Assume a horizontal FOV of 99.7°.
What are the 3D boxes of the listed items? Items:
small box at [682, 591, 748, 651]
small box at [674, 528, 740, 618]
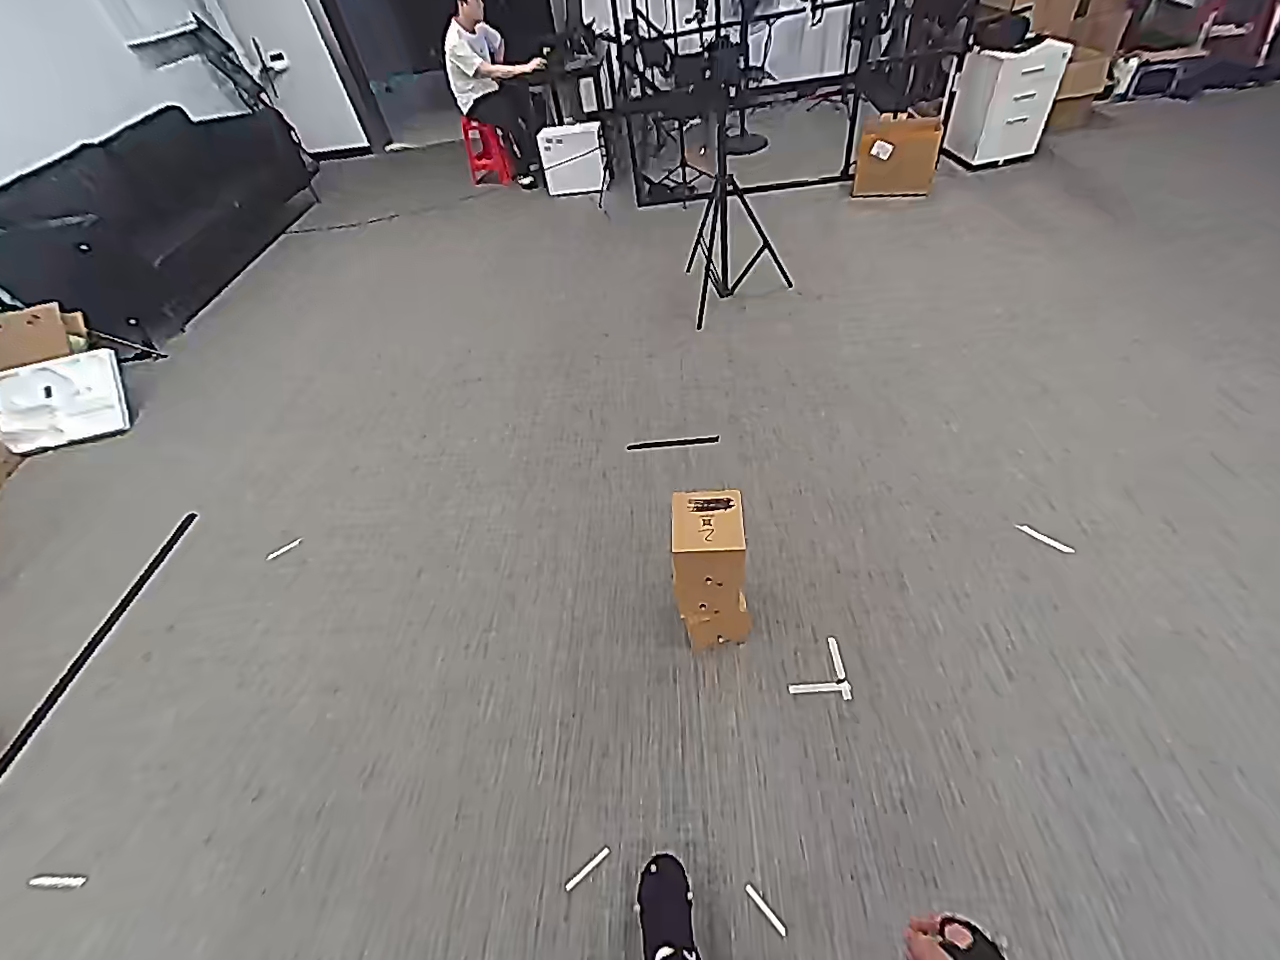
[{"bbox_3d":[0.203,0.363,1.553,0.168,0.176,0.179,-13,47,-1],"label":"small box"},{"bbox_3d":[0.176,0.249,1.440,0.168,0.176,0.179,-4,47,7],"label":"small box"}]
